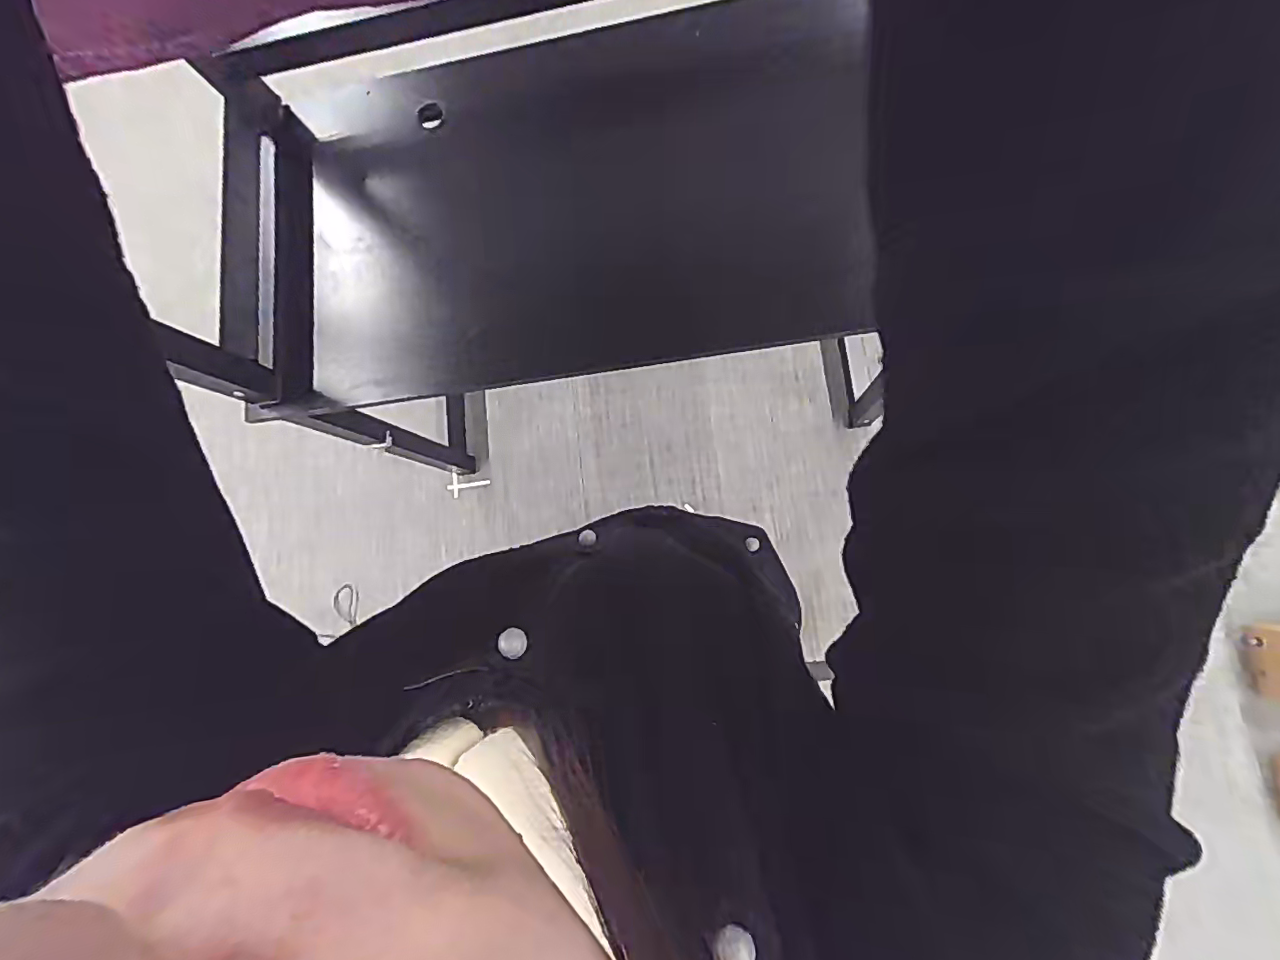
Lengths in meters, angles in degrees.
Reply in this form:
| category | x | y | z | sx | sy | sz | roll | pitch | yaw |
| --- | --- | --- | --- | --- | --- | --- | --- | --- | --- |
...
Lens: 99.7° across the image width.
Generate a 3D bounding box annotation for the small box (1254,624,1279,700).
| category | x | y | z | sx | sy | sz | roll | pitch | yaw |
| --- | --- | --- | --- | --- | --- | --- | --- | --- | --- |
| small box | 1.503 | 0.404 | 1.168 | 0.179 | 0.176 | 0.168 | -5 | 82 | 7 |
